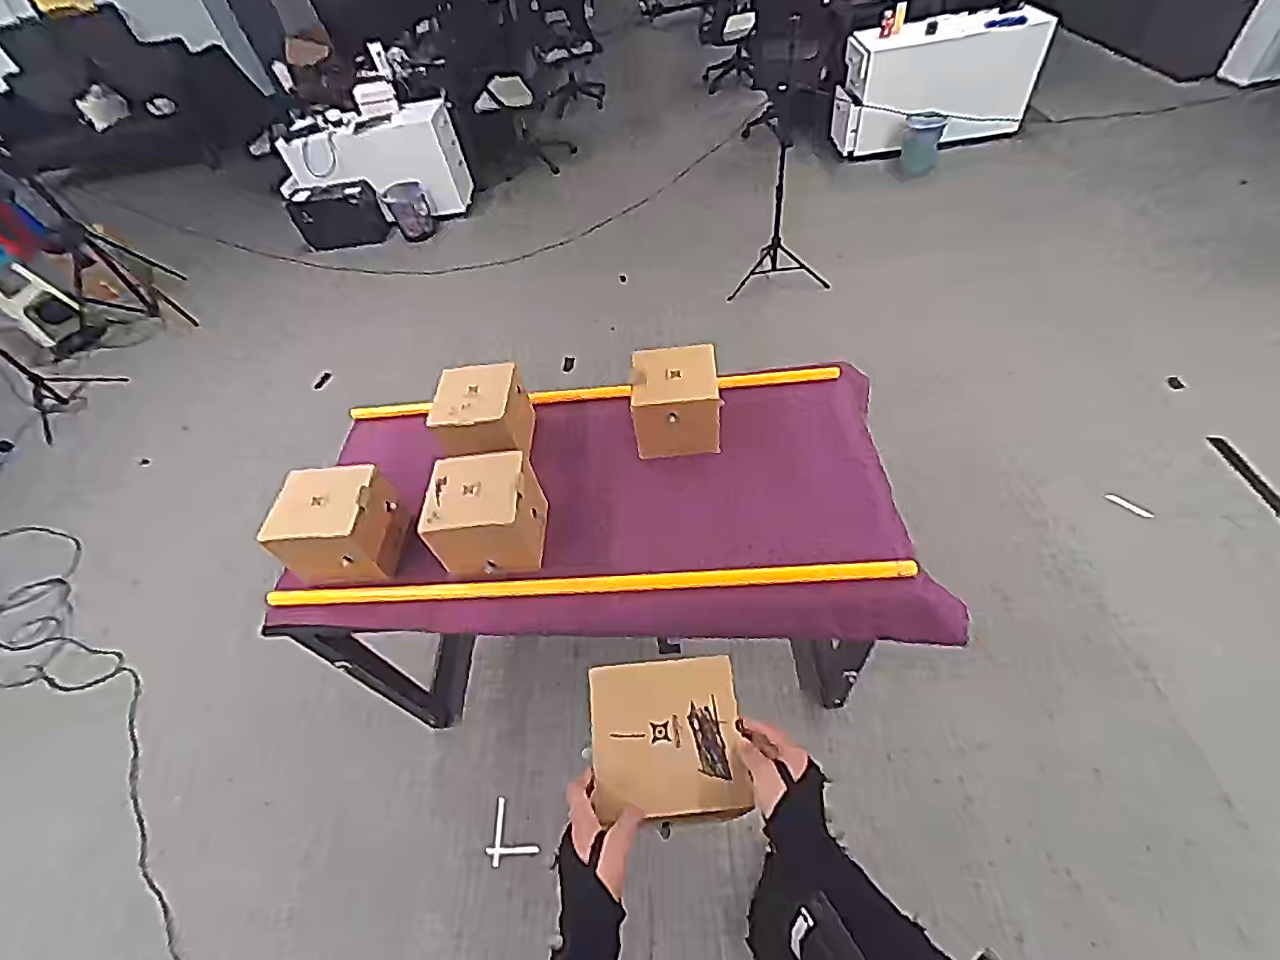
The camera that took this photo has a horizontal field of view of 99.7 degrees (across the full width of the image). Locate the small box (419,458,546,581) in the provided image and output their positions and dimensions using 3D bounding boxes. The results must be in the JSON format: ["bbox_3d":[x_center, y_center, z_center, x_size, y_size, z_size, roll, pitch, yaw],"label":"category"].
[{"bbox_3d":[-0.287,0.079,1.034,0.179,0.176,0.168,-5,50,5],"label":"small box"}]

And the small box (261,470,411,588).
[{"bbox_3d":[-0.581,0.100,1.063,0.179,0.176,0.168,-4,50,3],"label":"small box"}]

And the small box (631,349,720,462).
[{"bbox_3d":[0.078,-0.156,1.166,0.179,0.176,0.168,-5,52,7],"label":"small box"}]

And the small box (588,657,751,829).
[{"bbox_3d":[0.026,0.337,0.687,0.179,0.176,0.168,-3,53,-3],"label":"small box"}]

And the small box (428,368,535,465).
[{"bbox_3d":[-0.342,-0.124,1.208,0.168,0.176,0.179,-5,52,6],"label":"small box"}]
